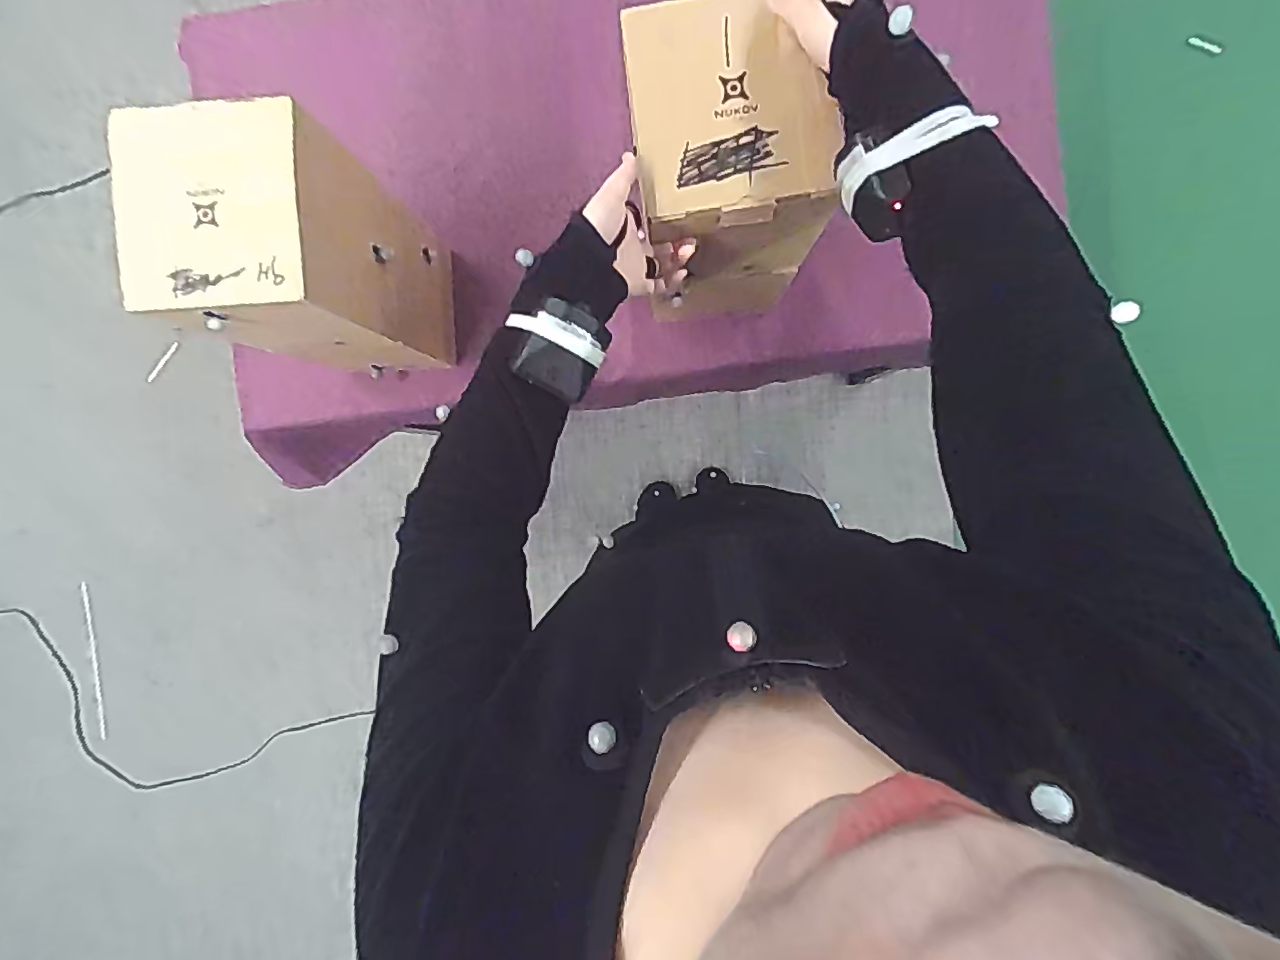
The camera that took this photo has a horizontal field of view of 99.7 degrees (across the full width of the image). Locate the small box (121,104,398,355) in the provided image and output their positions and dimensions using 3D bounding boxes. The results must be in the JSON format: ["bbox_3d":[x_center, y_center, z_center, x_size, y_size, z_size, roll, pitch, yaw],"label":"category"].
[{"bbox_3d":[-0.367,-0.236,0.550,0.168,0.176,0.179,-2,91,5],"label":"small box"}]

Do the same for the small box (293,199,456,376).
[{"bbox_3d":[-0.357,-0.241,0.715,0.168,0.176,0.179,-2,92,4],"label":"small box"}]

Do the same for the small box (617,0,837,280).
[{"bbox_3d":[0.076,-0.309,0.523,0.168,0.176,0.179,-8,90,3],"label":"small box"}]
